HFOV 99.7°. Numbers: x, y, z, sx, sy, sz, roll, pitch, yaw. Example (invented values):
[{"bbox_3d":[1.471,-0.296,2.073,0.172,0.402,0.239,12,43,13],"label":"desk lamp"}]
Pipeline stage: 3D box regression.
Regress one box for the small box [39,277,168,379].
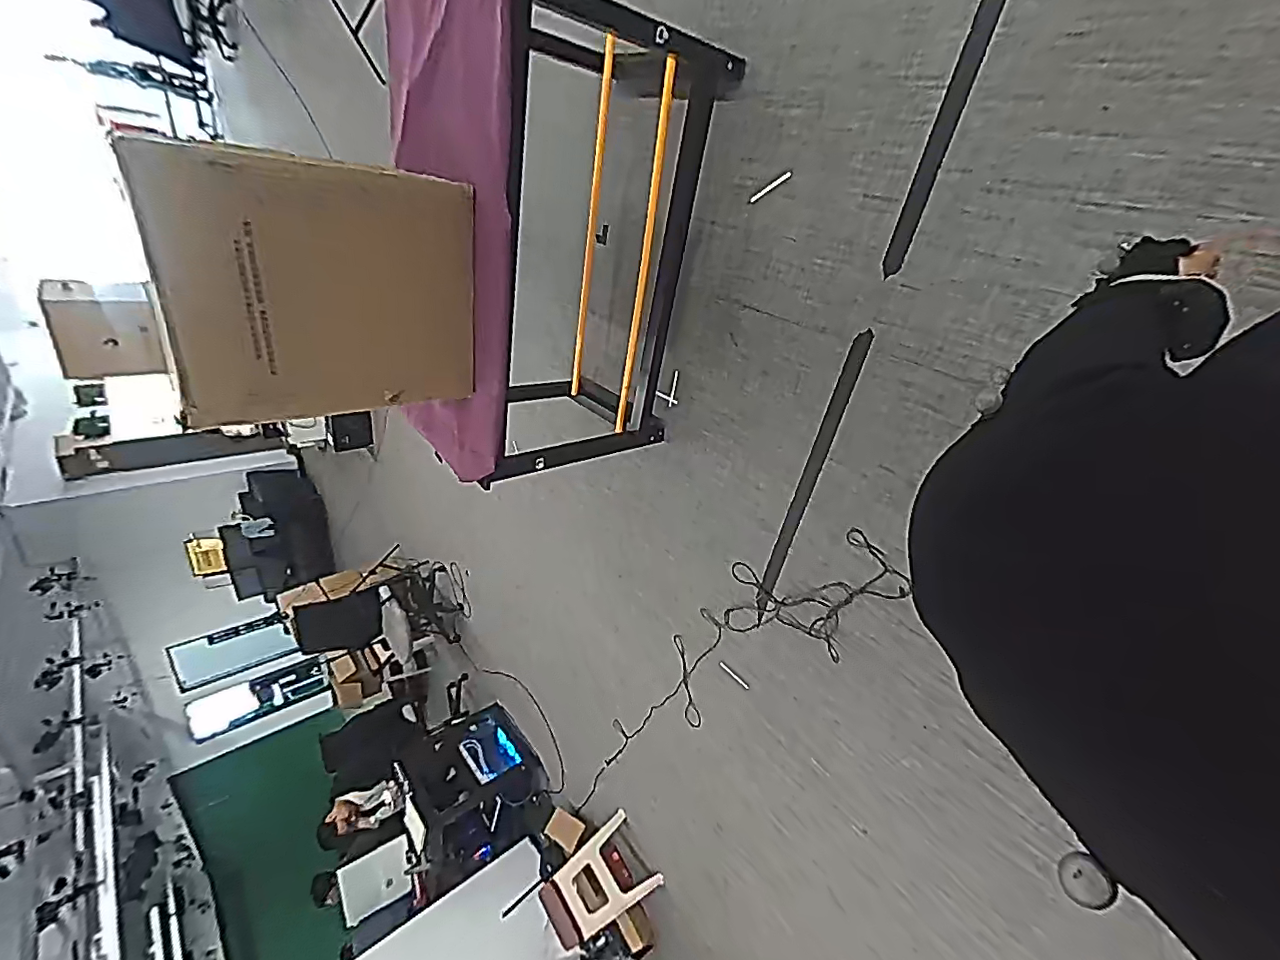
[{"bbox_3d":[-1.158,-0.335,1.177,0.179,0.176,0.168,37,127,37],"label":"small box"}]
